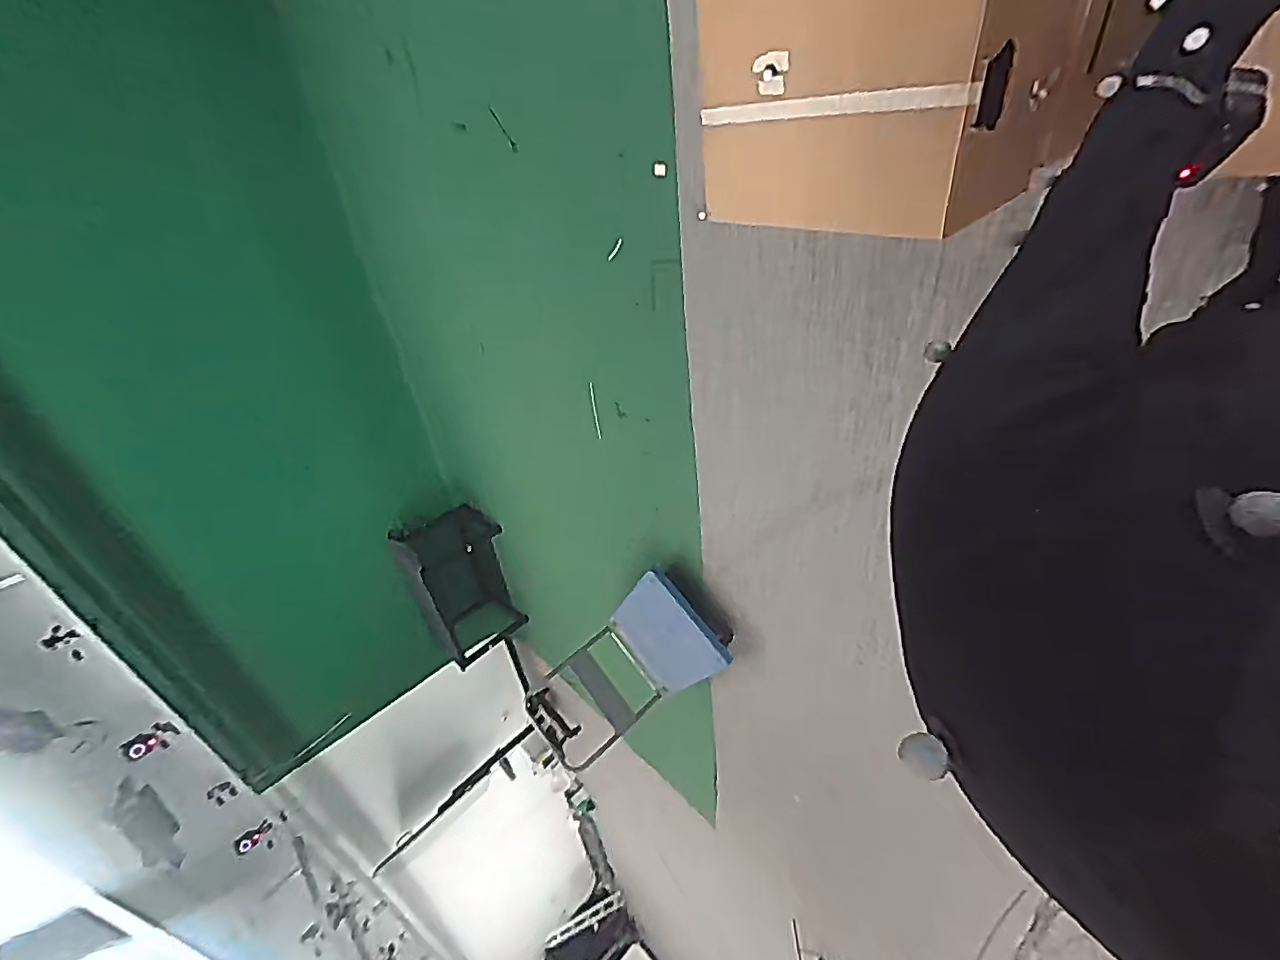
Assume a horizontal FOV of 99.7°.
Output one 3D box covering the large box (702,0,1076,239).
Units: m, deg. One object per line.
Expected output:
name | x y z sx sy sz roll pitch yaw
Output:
large box | 0.351 -0.578 0.813 0.408 0.320 0.320 29 140 40
